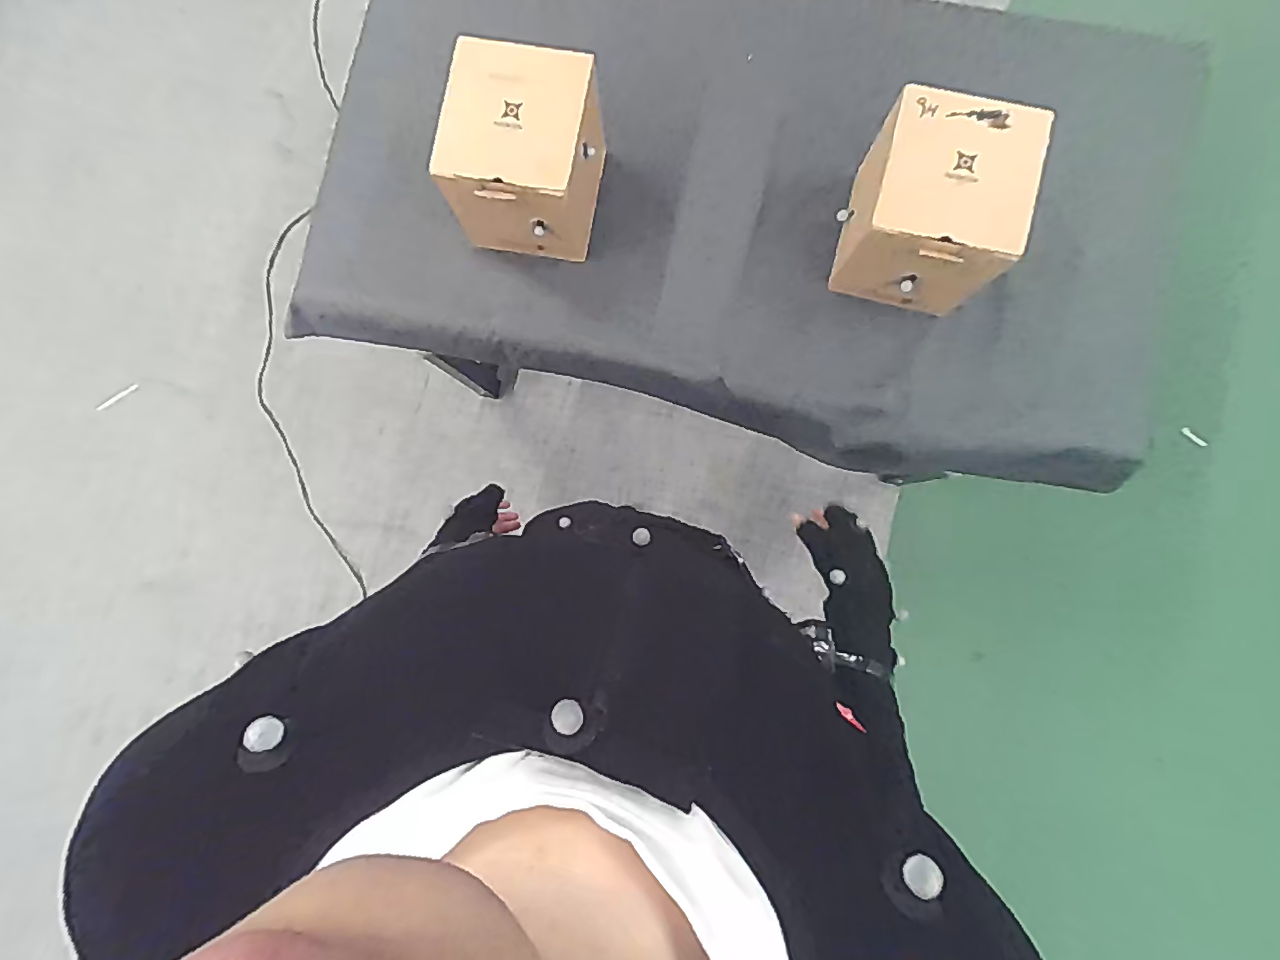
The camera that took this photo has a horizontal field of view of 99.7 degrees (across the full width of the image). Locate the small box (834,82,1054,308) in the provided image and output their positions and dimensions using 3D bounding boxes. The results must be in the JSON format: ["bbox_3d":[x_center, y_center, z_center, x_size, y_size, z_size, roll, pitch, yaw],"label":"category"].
[{"bbox_3d":[0.358,-0.337,0.674,0.168,0.176,0.179,15,88,4],"label":"small box"}]

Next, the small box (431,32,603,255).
[{"bbox_3d":[-0.146,-0.420,0.704,0.168,0.176,0.179,10,85,1],"label":"small box"}]
